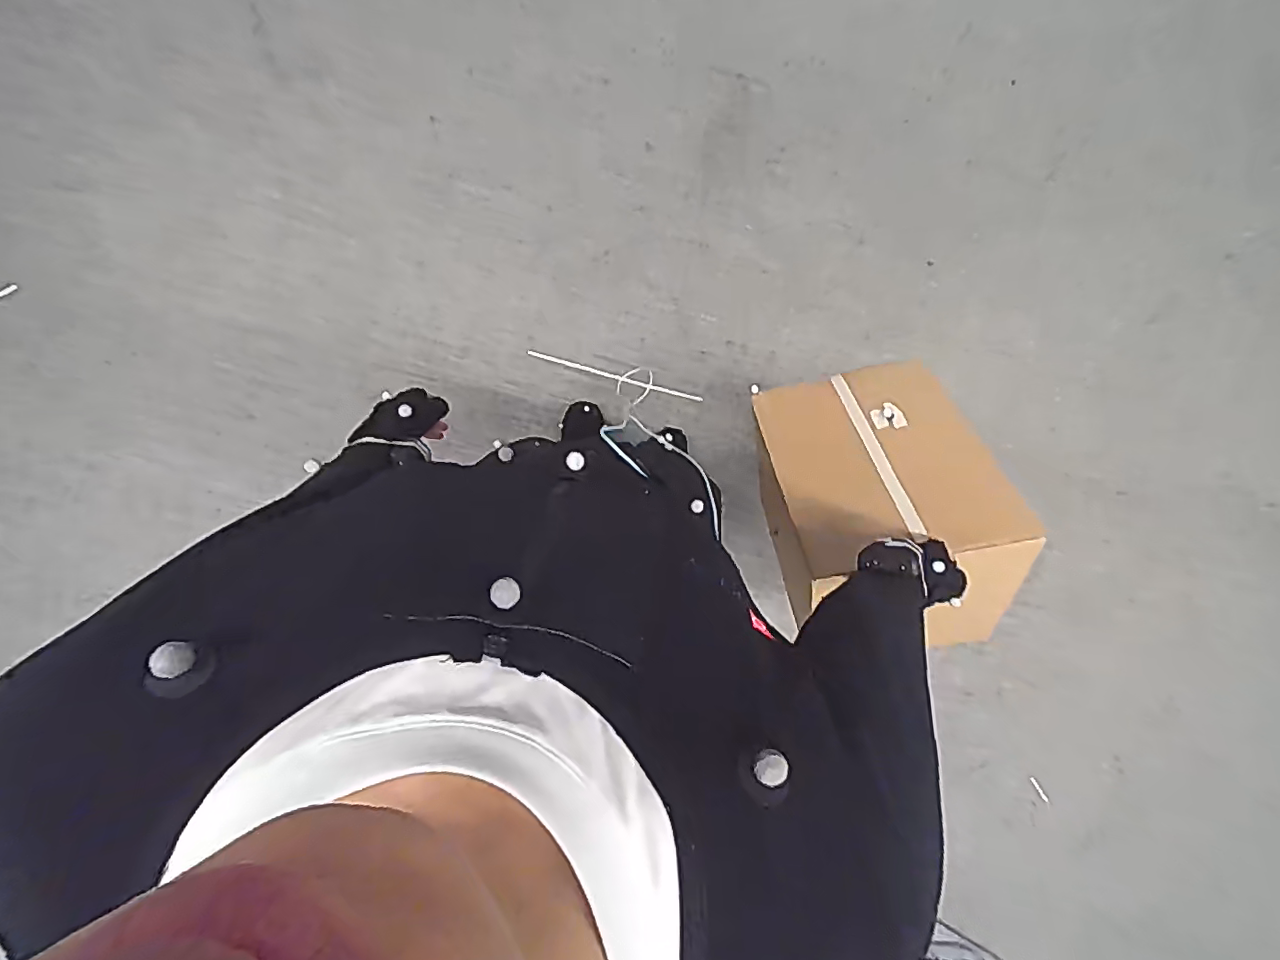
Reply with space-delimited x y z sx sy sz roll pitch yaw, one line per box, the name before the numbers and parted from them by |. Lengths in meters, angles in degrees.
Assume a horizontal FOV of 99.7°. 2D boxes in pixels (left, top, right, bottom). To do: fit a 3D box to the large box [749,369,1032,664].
large box | 0.403 0.065 0.987 0.320 0.408 0.320 -11 137 6
